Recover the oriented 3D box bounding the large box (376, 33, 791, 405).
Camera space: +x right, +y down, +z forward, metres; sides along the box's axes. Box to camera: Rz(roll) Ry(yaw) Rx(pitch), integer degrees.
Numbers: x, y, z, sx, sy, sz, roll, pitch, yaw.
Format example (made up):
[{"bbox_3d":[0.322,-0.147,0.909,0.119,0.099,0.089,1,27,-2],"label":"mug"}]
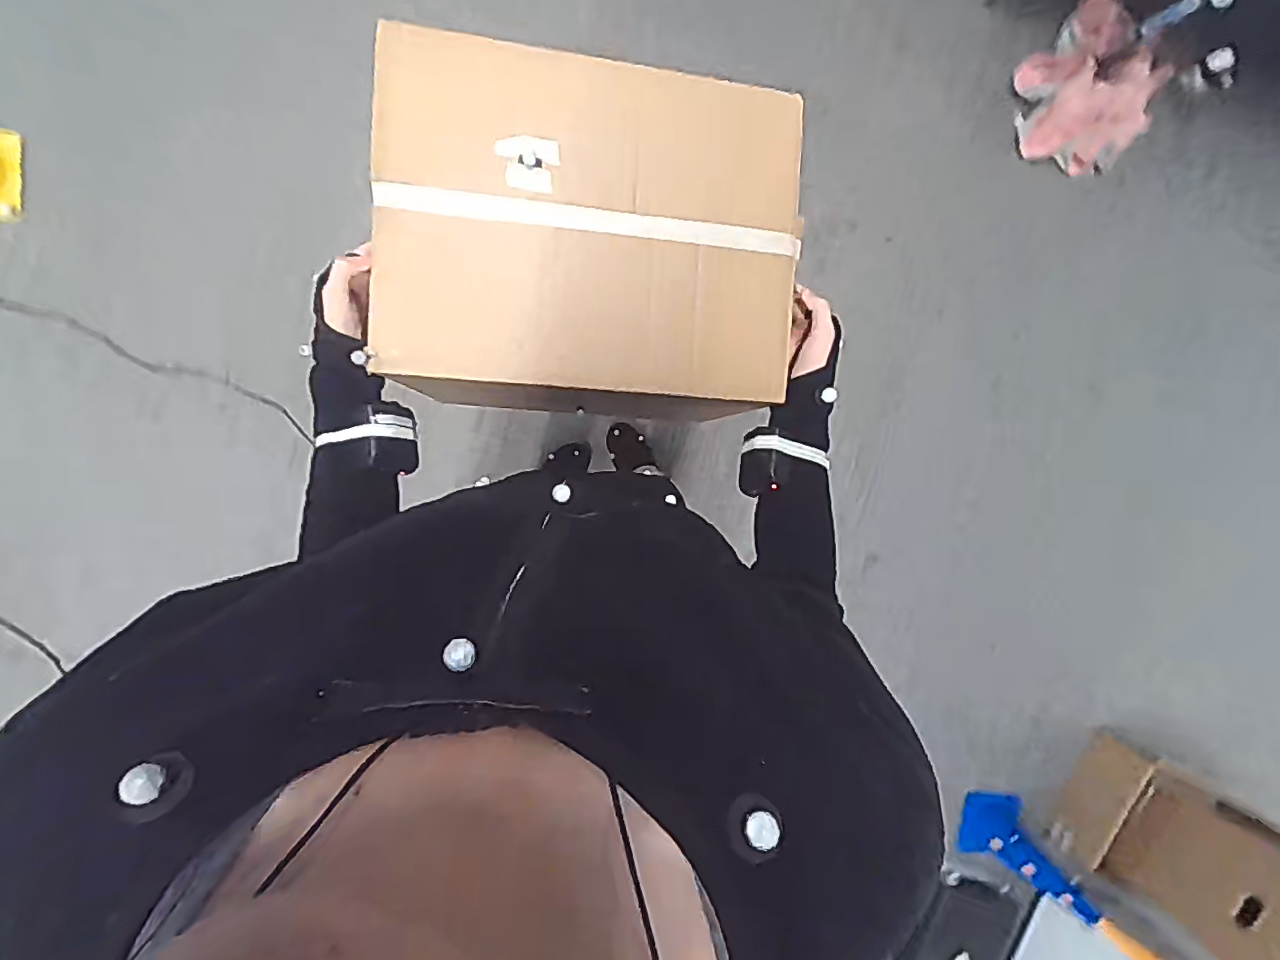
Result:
[{"bbox_3d":[-0.067,-0.260,0.673,0.408,0.320,0.320,2,93,-9],"label":"large box"}]
